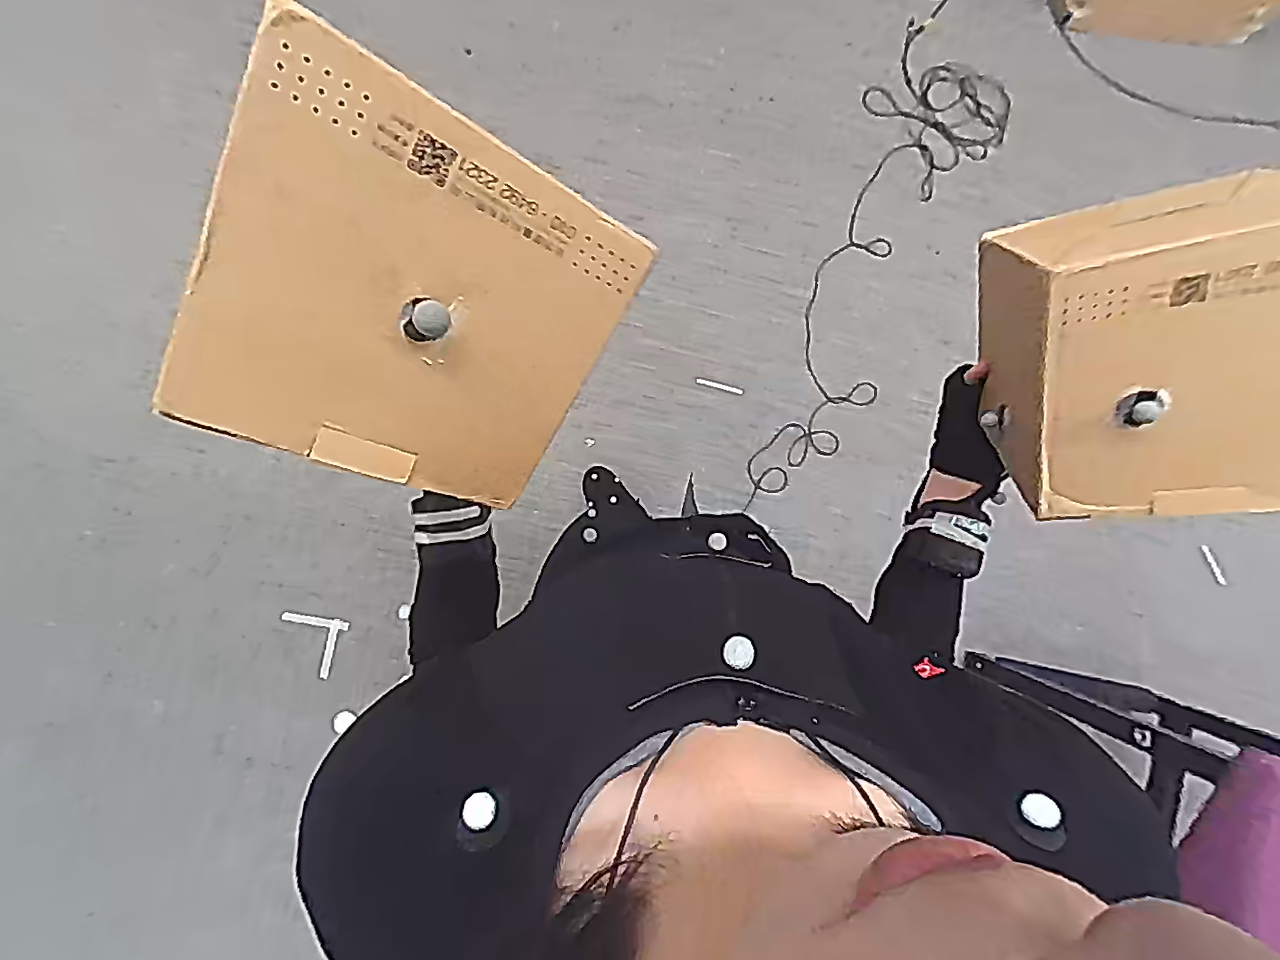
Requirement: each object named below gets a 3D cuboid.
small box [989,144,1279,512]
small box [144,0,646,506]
[{"bbox_3d":[0.339,-0.100,0.348,0.168,0.179,0.176,-5,118,22],"label":"small box"},{"bbox_3d":[-0.119,-0.118,0.294,0.168,0.179,0.176,22,113,-32],"label":"small box"}]
